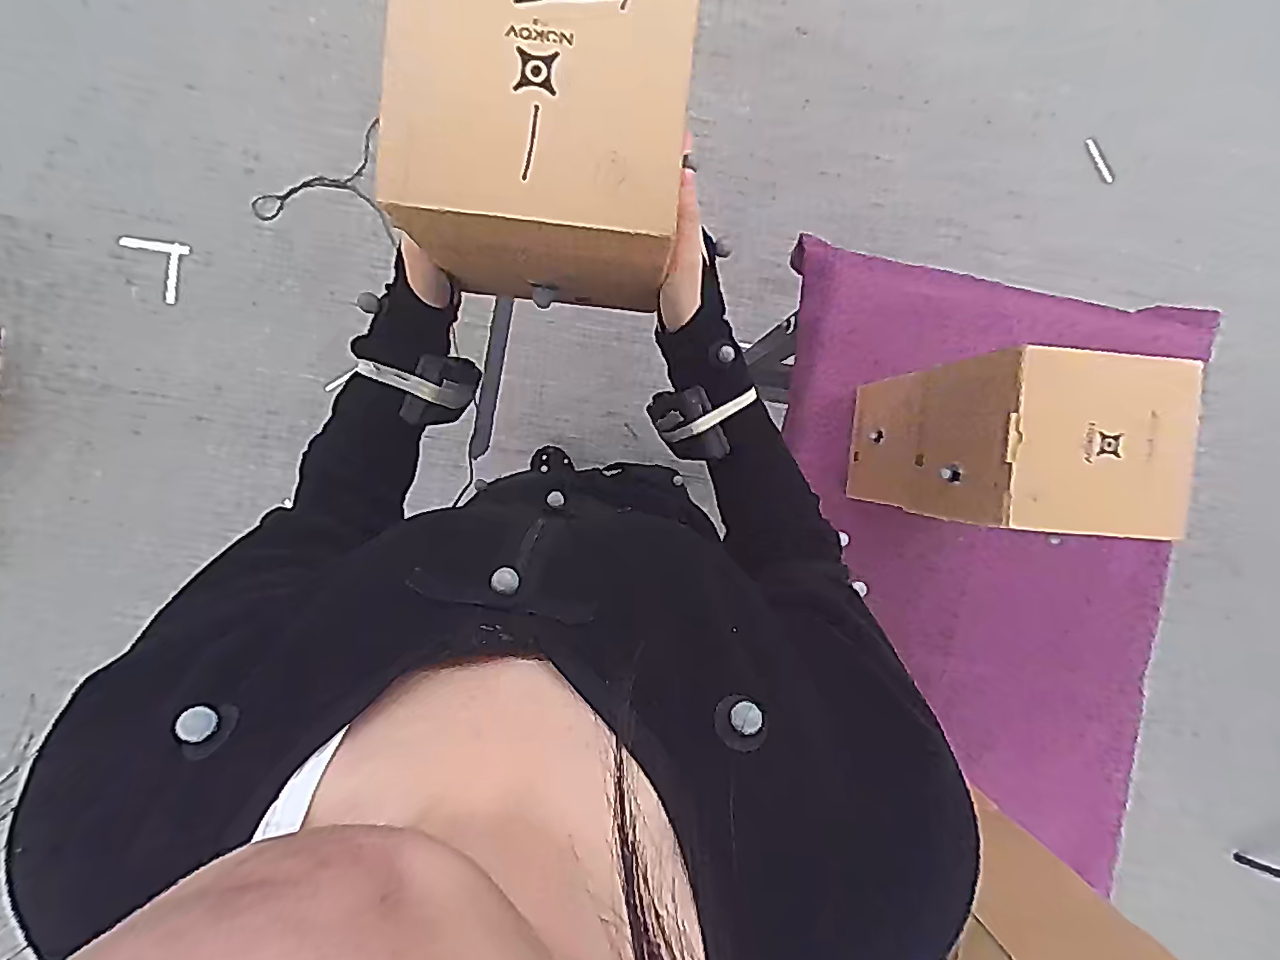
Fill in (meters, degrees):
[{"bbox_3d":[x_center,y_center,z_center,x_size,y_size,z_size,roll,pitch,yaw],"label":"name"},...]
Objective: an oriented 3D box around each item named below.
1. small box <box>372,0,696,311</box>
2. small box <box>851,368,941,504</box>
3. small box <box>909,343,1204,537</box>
[{"bbox_3d":[-0.059,-0.232,0.371,0.168,0.176,0.179,5,93,-2],"label":"small box"},{"bbox_3d":[0.407,-0.046,0.727,0.179,0.176,0.168,5,93,-5],"label":"small box"},{"bbox_3d":[0.411,-0.038,0.565,0.179,0.176,0.168,4,93,-5],"label":"small box"}]
